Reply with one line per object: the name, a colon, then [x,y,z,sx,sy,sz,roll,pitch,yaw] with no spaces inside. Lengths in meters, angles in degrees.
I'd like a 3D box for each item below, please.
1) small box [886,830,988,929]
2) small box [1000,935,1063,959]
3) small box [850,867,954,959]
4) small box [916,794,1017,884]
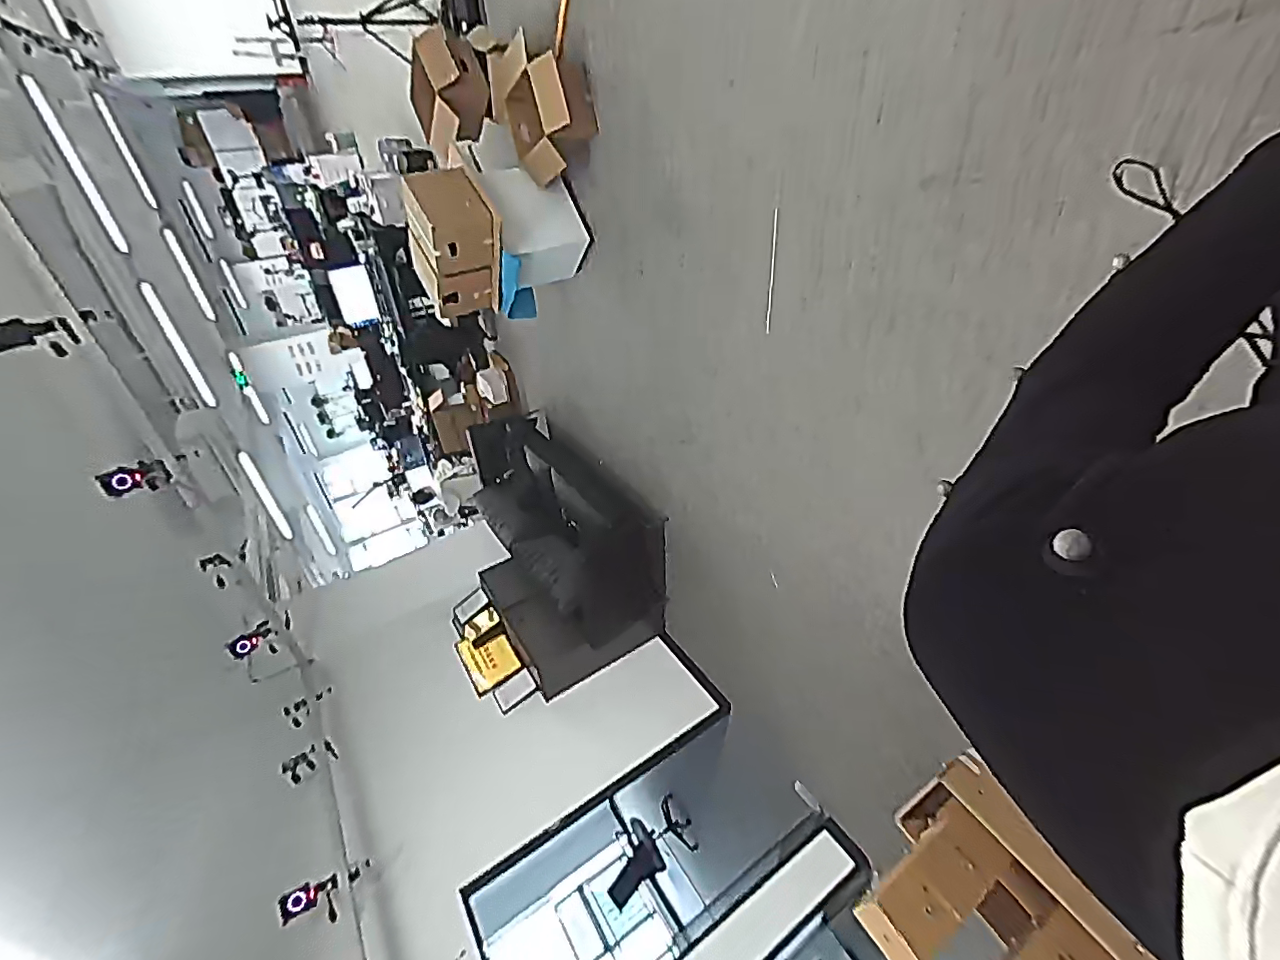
small box: [0.852,1.150,1.551,0.168,0.176,0.179,46,147,34]
small box: [1.015,1.317,1.377,0.168,0.176,0.179,42,145,39]
small box: [0.718,1.209,1.481,0.168,0.176,0.179,46,147,34]
small box: [0.983,1.090,1.626,0.168,0.176,0.179,47,147,34]
